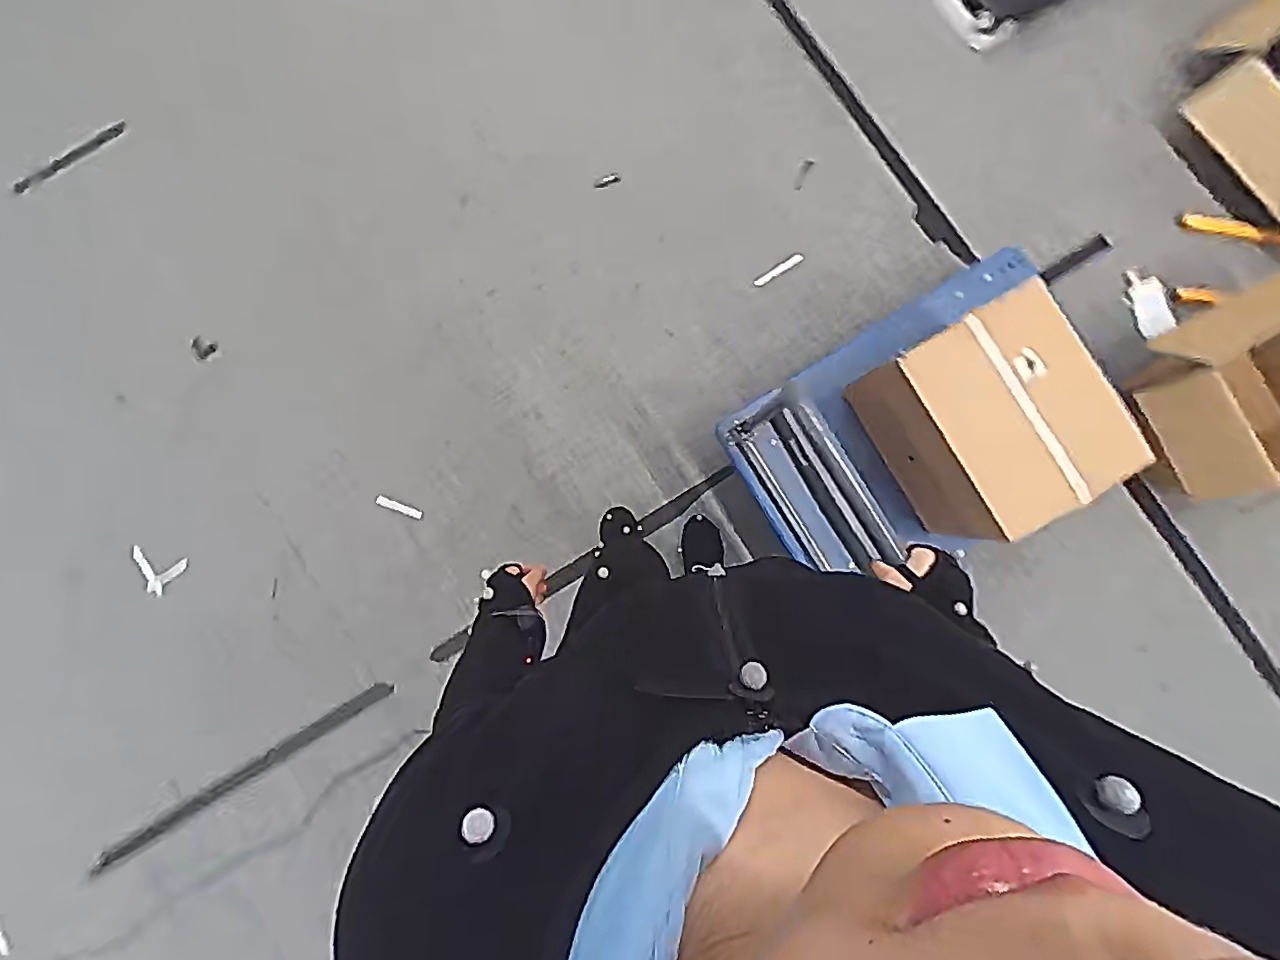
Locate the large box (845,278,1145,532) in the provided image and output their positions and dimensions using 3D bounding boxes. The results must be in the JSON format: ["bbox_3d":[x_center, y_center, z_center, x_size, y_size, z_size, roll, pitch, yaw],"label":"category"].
[{"bbox_3d":[0.725,-0.137,1.176,0.320,0.320,0.408,-31,86,0],"label":"large box"}]
